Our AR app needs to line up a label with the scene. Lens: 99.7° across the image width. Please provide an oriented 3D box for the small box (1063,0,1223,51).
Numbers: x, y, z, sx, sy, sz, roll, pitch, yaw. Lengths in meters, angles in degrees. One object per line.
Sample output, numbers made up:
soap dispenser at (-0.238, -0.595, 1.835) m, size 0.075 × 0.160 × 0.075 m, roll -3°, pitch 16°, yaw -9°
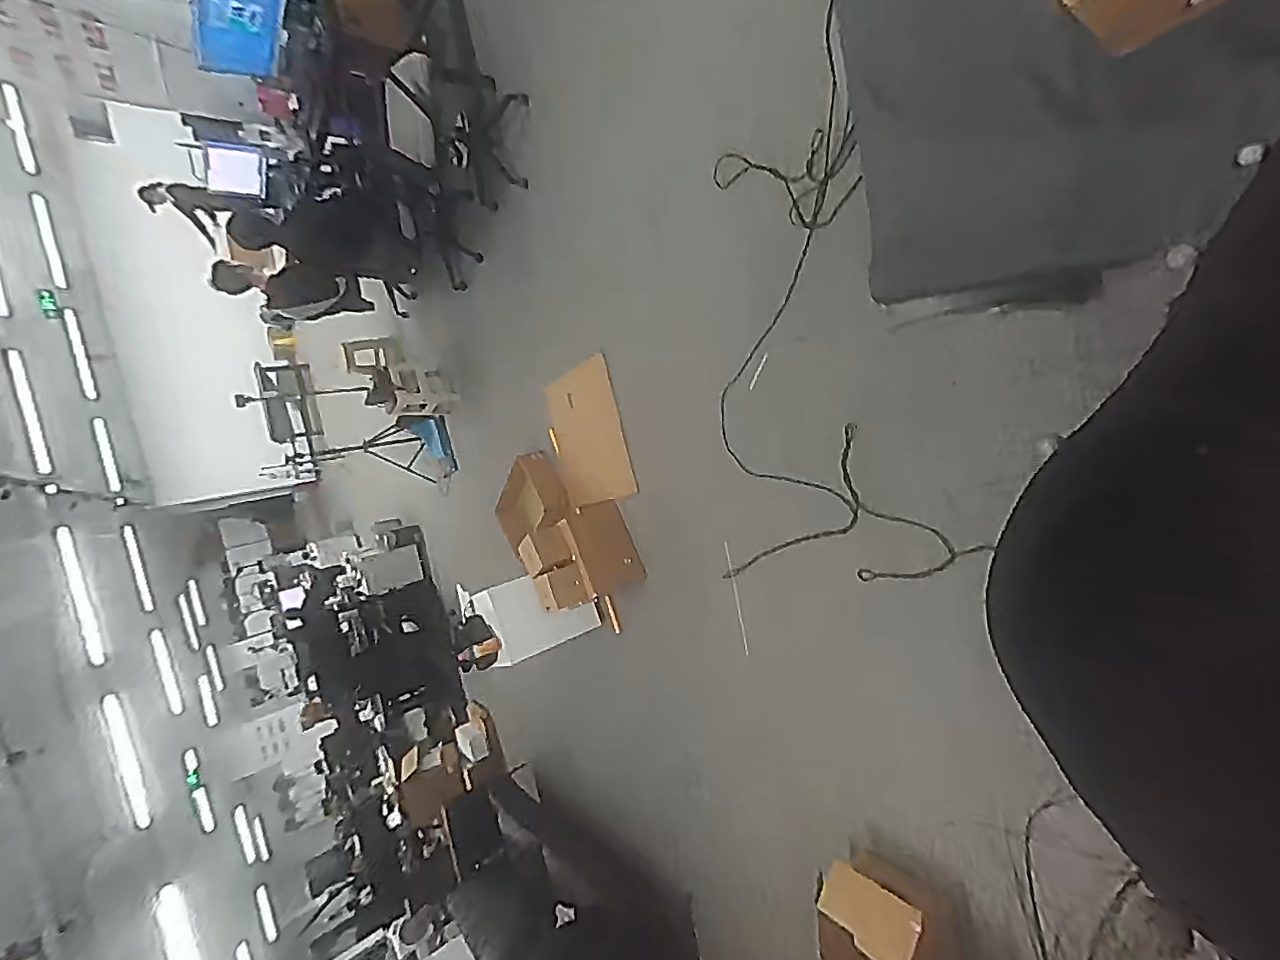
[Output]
small box at (0.455, -0.508, 0.441) m, size 0.168 × 0.176 × 0.179 m, roll -7°, pitch 96°, yaw 53°
